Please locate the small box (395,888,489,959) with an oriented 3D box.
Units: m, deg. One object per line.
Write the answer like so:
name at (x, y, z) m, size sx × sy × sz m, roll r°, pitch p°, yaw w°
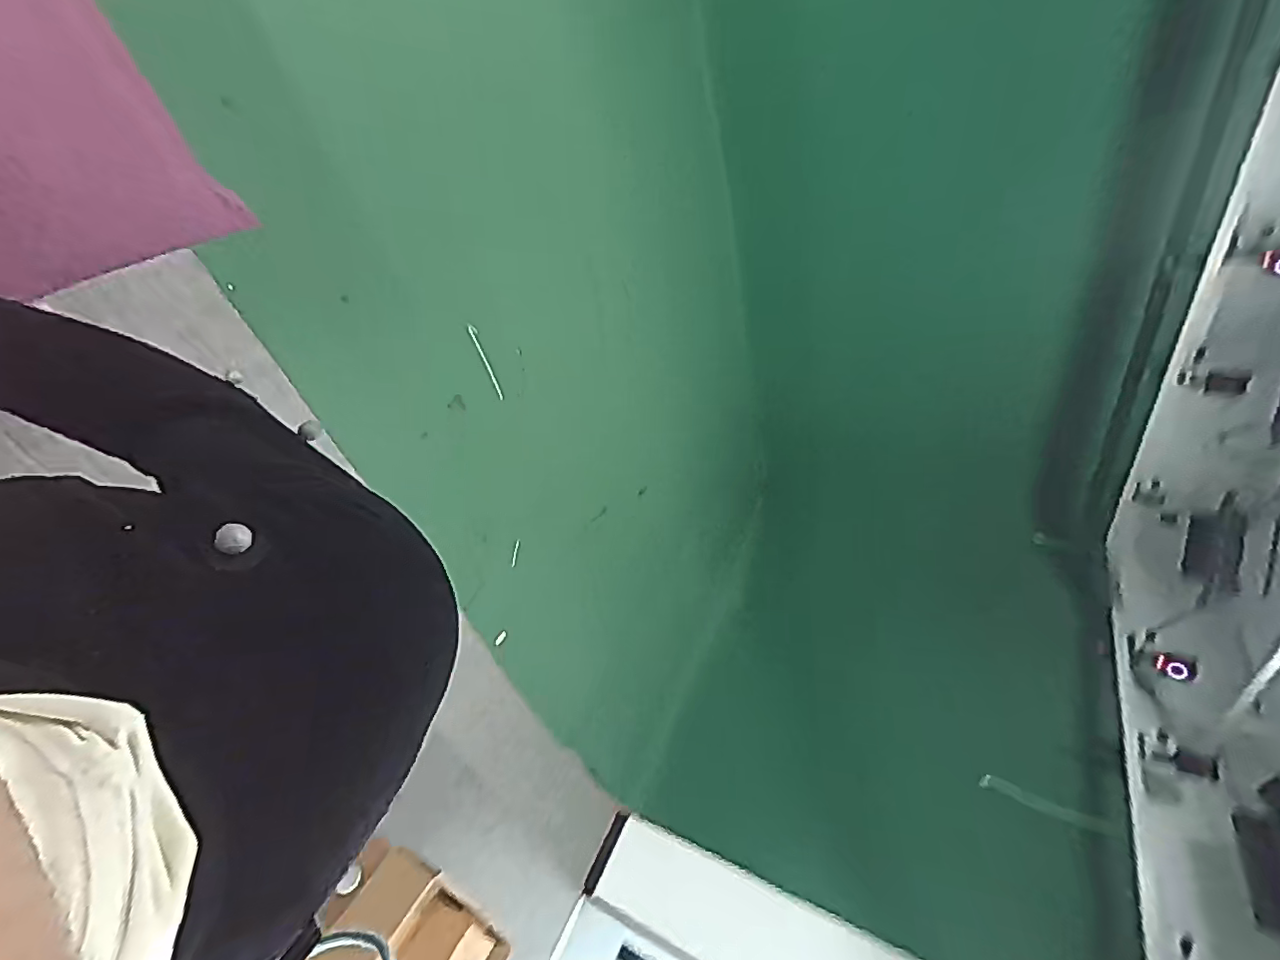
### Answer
small box at (-0.590, 1.365, 1.609) m, size 0.168 × 0.176 × 0.179 m, roll -48°, pitch 136°, yaw -40°
